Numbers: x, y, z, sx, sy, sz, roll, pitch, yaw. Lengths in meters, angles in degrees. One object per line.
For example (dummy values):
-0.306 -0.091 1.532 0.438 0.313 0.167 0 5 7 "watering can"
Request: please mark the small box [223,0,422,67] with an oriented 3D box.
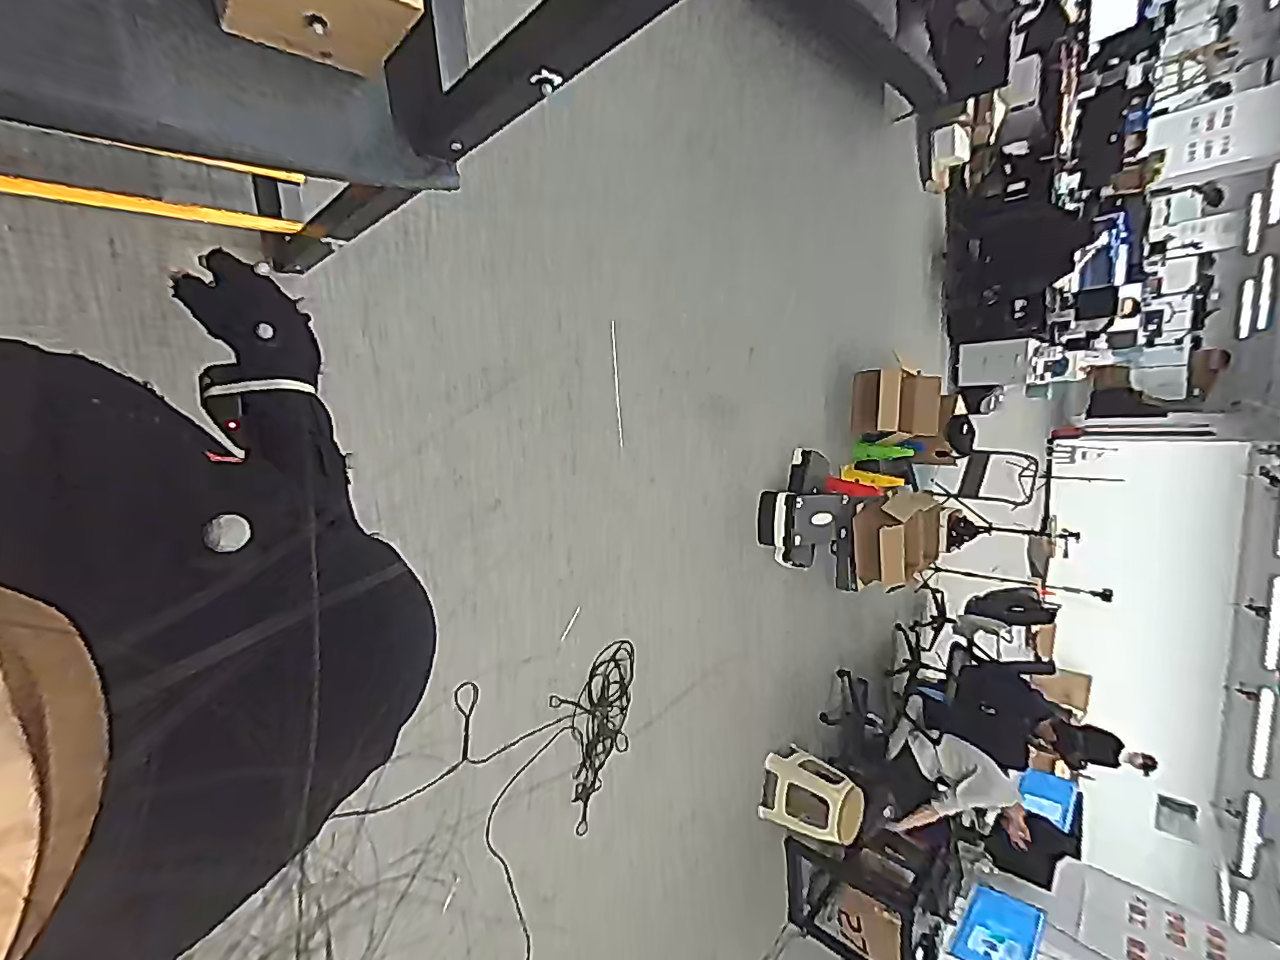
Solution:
-0.366 -0.609 0.598 0.168 0.176 0.179 -15 104 -45 "small box"
